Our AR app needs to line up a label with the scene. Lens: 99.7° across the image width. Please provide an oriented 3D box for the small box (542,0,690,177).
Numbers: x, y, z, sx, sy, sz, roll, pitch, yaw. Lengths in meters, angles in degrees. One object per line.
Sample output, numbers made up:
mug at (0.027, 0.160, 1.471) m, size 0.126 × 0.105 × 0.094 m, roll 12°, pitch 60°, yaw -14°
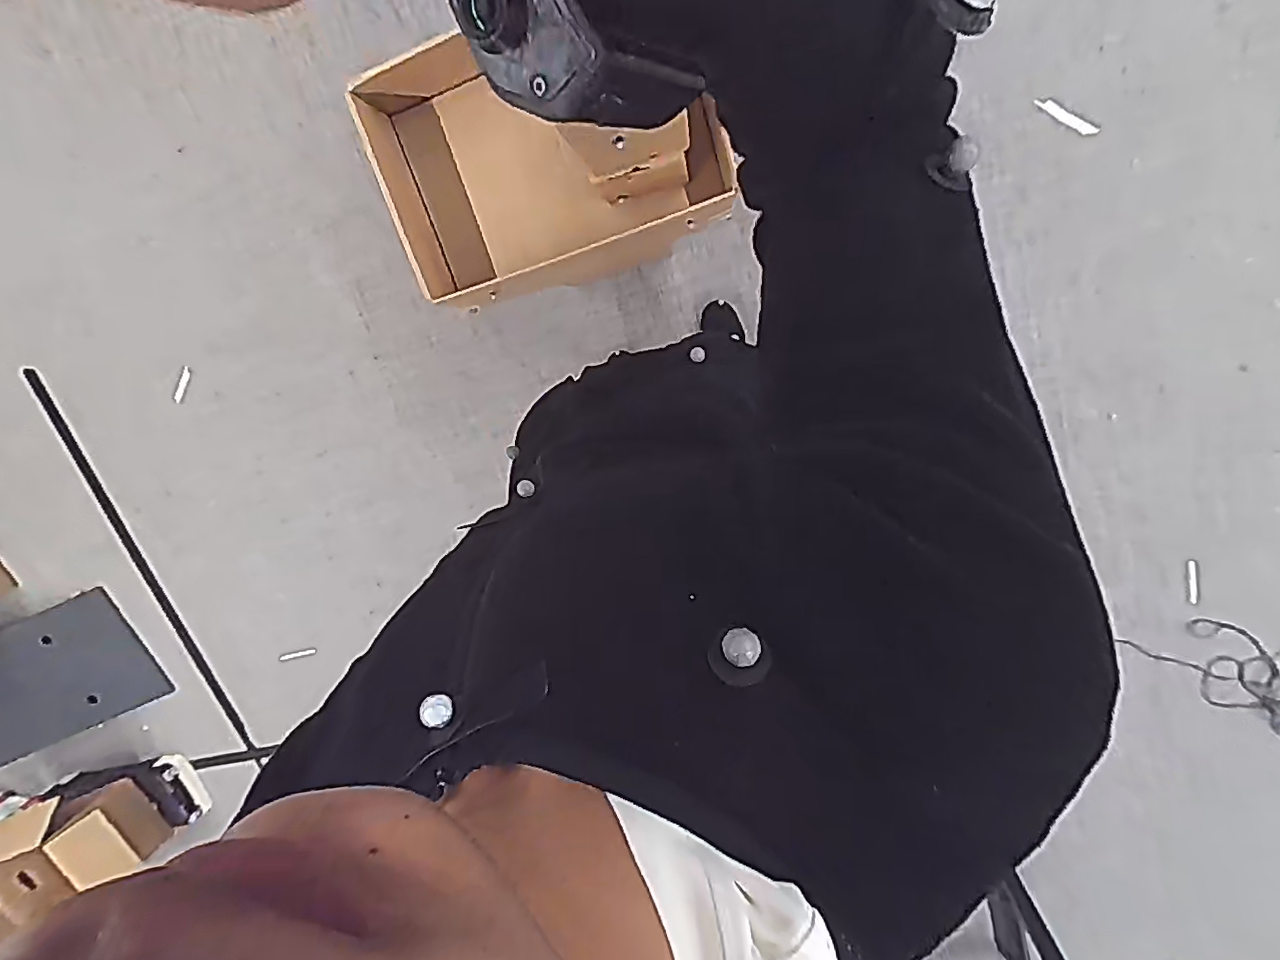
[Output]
small box at (-0.025, -0.582, 0.797) m, size 0.168 × 0.176 × 0.179 m, roll -12°, pitch 104°, yaw 10°

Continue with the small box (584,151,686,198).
small box at (-0.012, -0.618, 0.957) m, size 0.168 × 0.176 × 0.179 m, roll -9°, pitch 104°, yaw 8°
